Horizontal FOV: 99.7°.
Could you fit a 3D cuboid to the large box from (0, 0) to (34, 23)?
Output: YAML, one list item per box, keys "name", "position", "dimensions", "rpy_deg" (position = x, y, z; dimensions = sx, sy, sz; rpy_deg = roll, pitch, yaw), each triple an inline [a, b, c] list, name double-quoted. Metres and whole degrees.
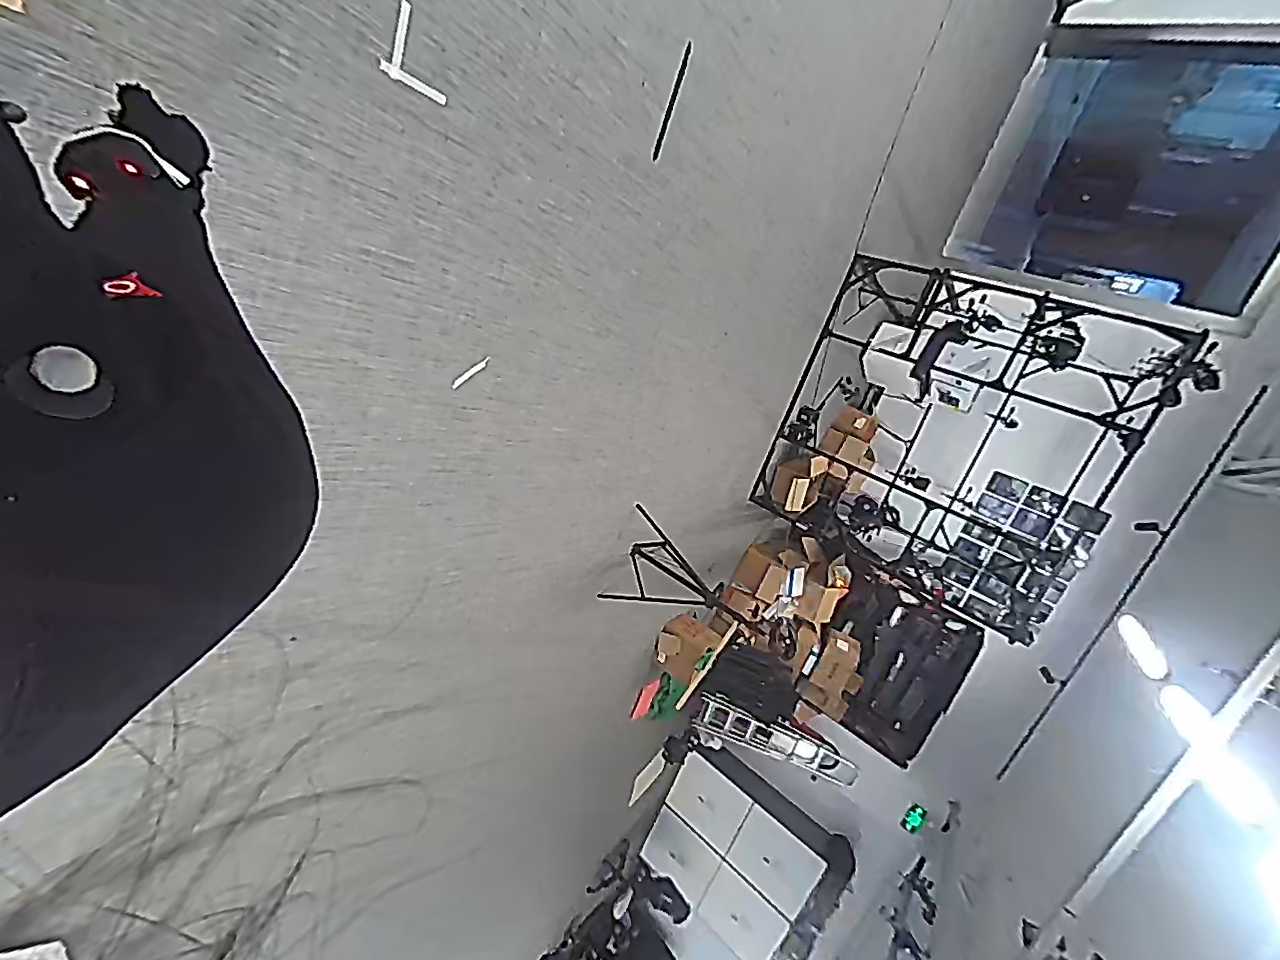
- name: "large box"
  position: [-0.977, -0.778, 0.572]
  dimensions: [0.408, 0.320, 0.320]
  rpy_deg: [-7, 121, -56]
